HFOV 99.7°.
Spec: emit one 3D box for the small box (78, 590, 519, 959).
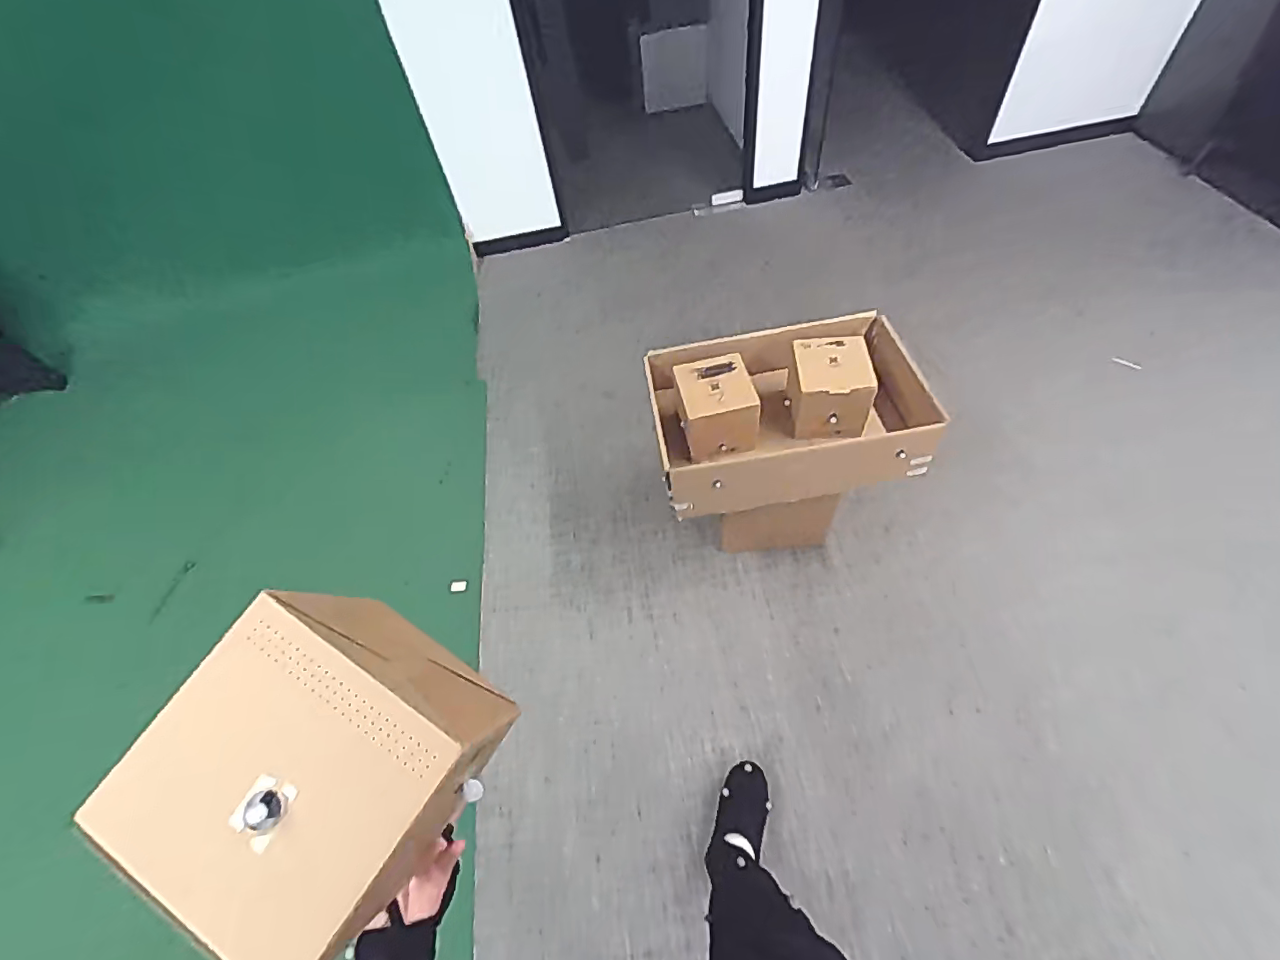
[{"bbox_3d":[-0.221,0.194,0.403,0.179,0.168,0.176,32,77,9],"label":"small box"}]
